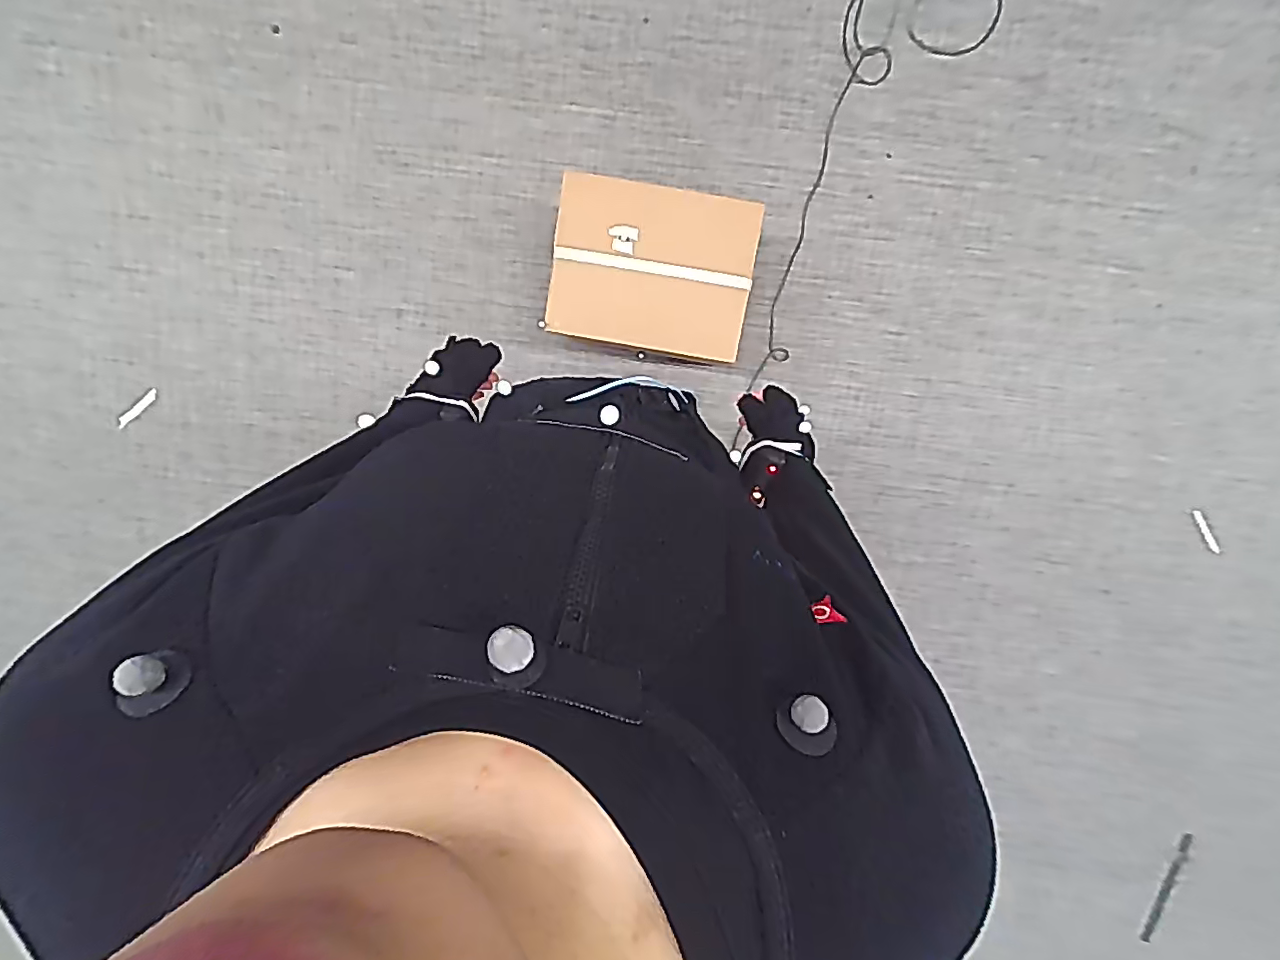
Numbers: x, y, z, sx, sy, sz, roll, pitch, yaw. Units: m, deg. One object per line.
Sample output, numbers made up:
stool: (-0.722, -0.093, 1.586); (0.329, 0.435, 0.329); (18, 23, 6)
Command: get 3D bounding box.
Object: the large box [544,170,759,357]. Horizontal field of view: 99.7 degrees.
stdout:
large box: (0.025, -0.466, 1.242); (0.408, 0.320, 0.320); (10, 101, 0)
